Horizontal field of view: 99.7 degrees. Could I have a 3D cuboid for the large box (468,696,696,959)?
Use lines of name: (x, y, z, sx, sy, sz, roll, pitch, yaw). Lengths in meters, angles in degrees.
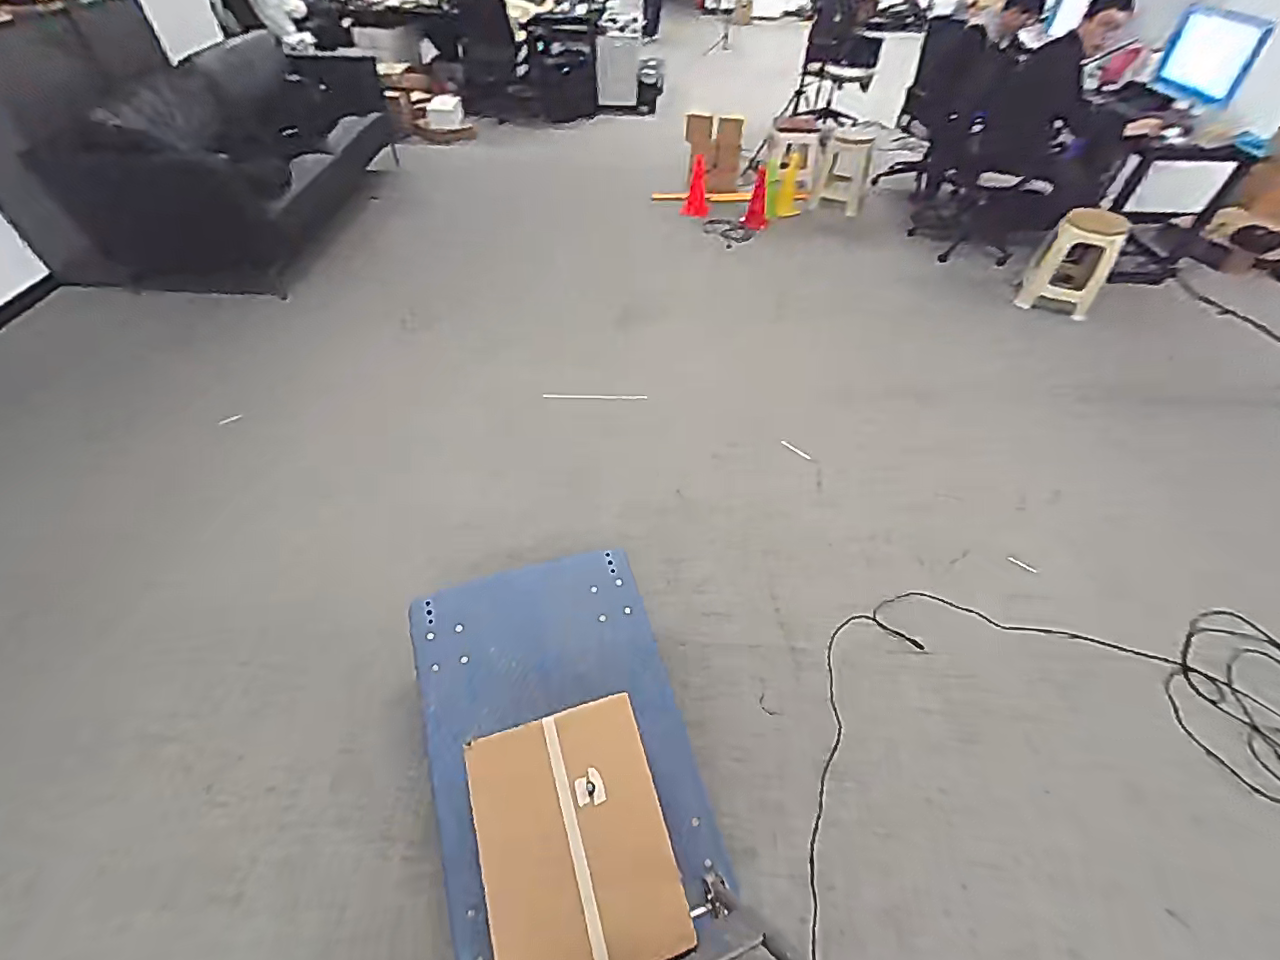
large box: (-0.122, 0.696, 1.062, 0.320, 0.320, 0.408, -12, 61, -13)
